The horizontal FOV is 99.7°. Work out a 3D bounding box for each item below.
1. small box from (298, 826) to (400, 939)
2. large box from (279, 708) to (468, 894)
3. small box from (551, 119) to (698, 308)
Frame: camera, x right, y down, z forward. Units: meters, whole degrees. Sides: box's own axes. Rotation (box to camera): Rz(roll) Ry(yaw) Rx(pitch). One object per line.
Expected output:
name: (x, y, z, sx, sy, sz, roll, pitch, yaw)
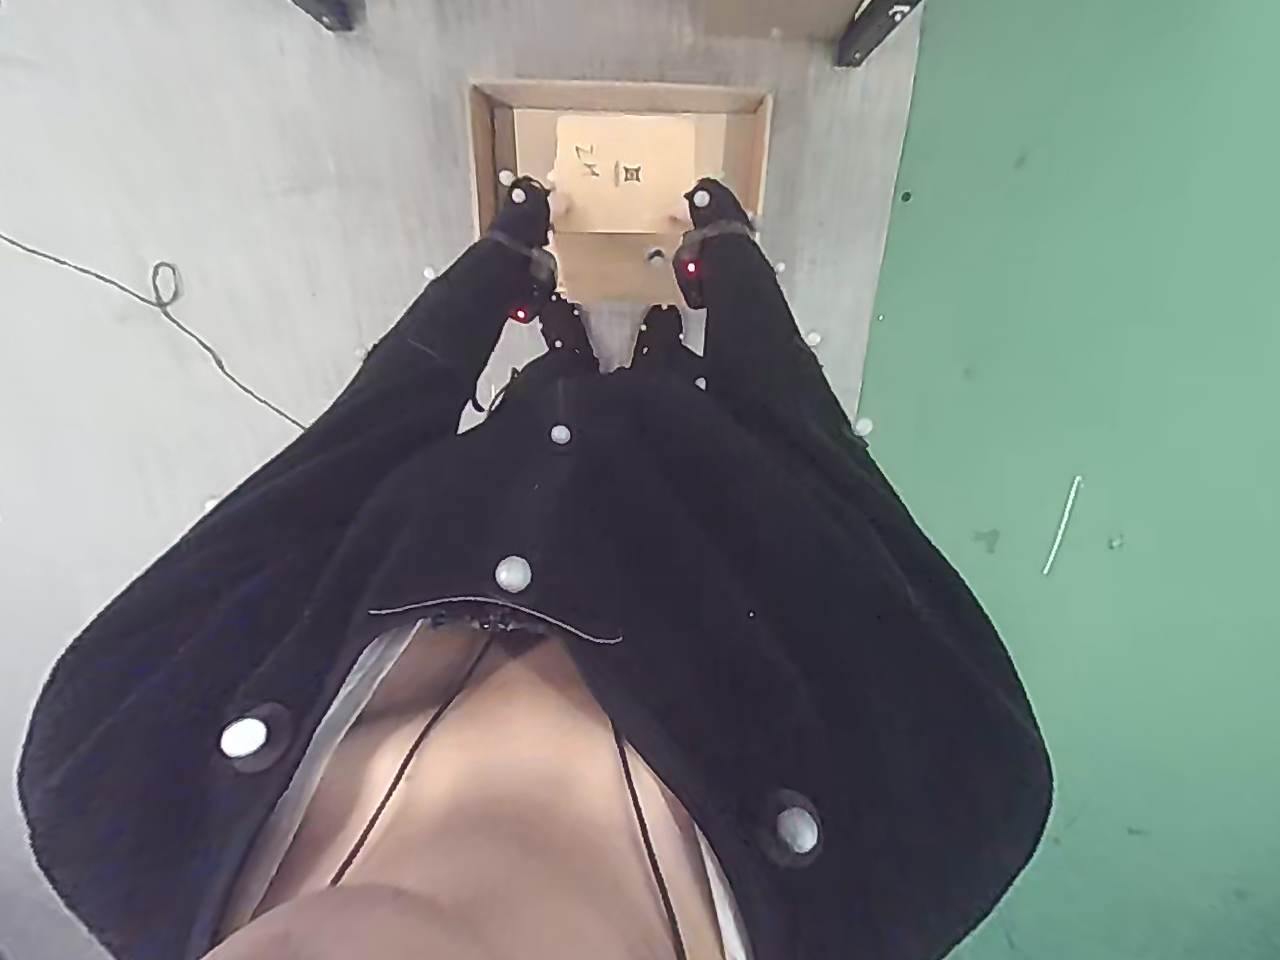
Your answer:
small box: (-0.819, 1.143, 1.541, 0.168, 0.176, 0.179, 35, 107, -10)
large box: (-0.846, 1.033, 1.761, 0.408, 0.320, 0.320, 31, 107, -8)
small box: (-0.018, -0.348, 0.733, 0.179, 0.176, 0.168, 1, 78, 0)
